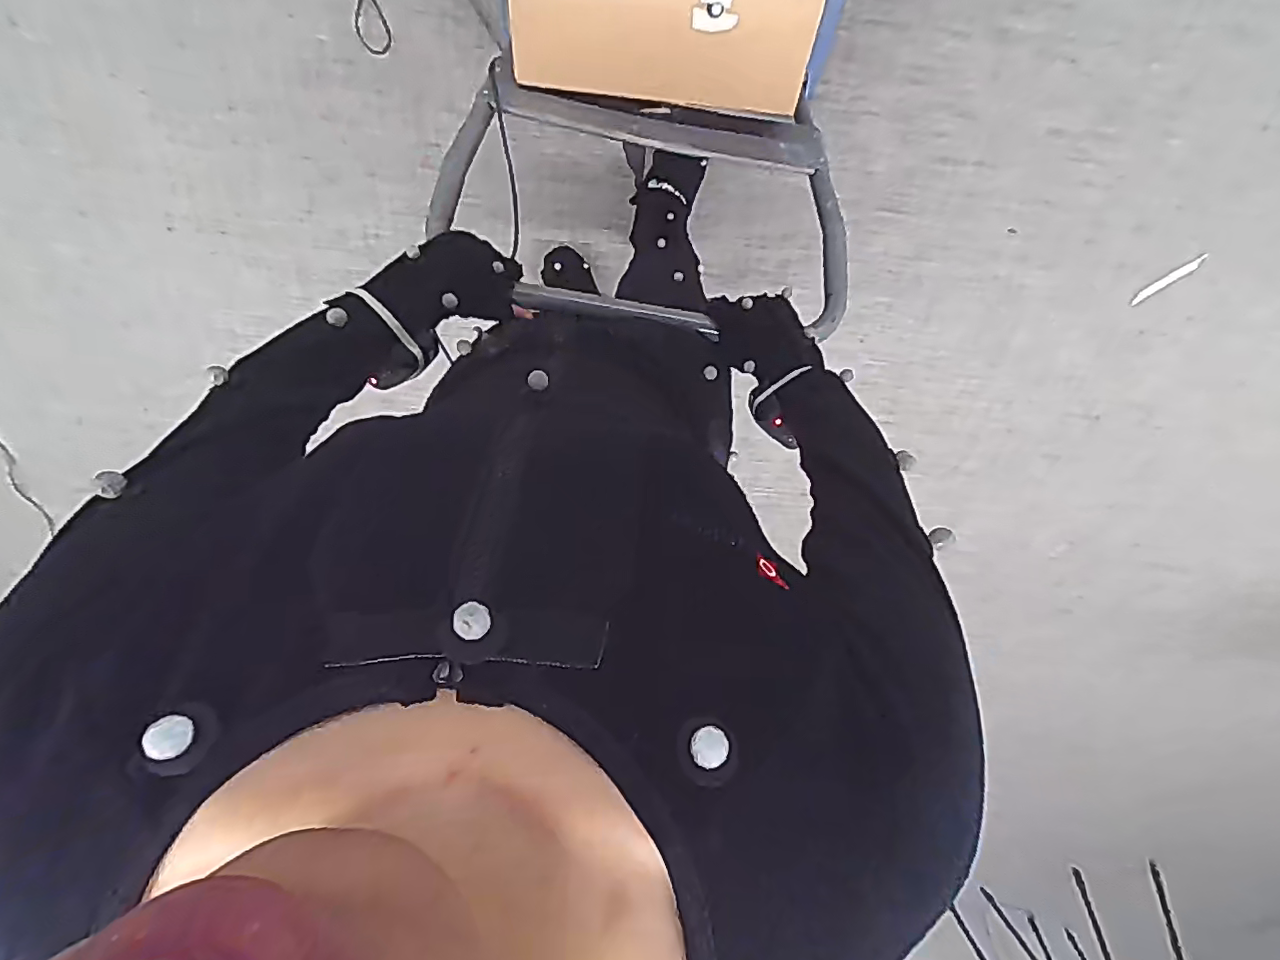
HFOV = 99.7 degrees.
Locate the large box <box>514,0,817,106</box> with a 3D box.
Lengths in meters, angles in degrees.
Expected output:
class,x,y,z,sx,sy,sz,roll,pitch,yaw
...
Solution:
class,x,y,z,sx,sy,sz,roll,pitch,yaw
large box,0.038,-0.772,0.762,0.408,0.320,0.320,4,143,-2
